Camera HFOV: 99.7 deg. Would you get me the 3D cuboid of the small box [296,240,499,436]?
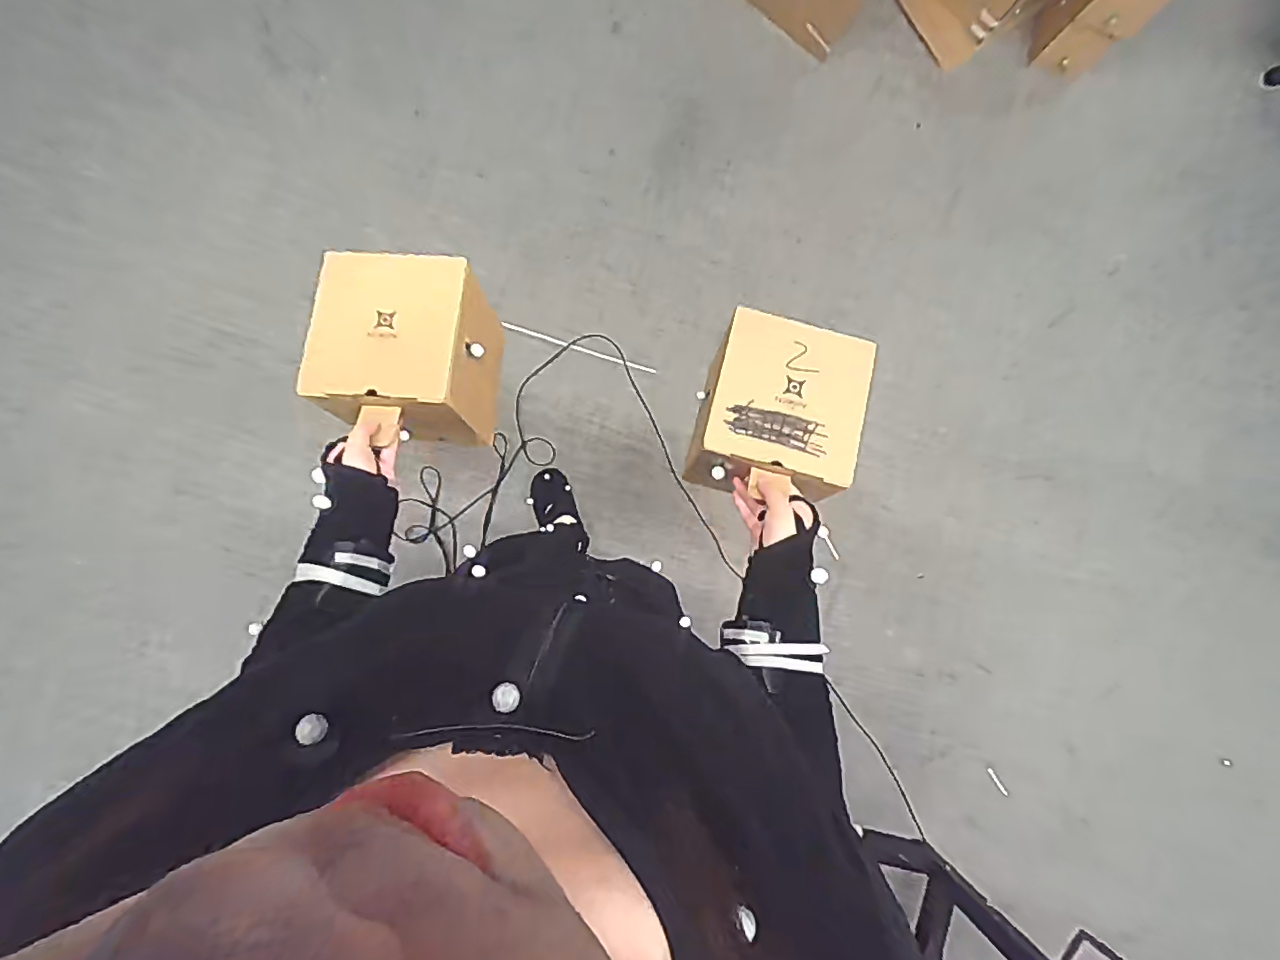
[{"bbox_3d":[-0.283,-0.167,0.676,0.168,0.176,0.179,4,79,2],"label":"small box"}]
